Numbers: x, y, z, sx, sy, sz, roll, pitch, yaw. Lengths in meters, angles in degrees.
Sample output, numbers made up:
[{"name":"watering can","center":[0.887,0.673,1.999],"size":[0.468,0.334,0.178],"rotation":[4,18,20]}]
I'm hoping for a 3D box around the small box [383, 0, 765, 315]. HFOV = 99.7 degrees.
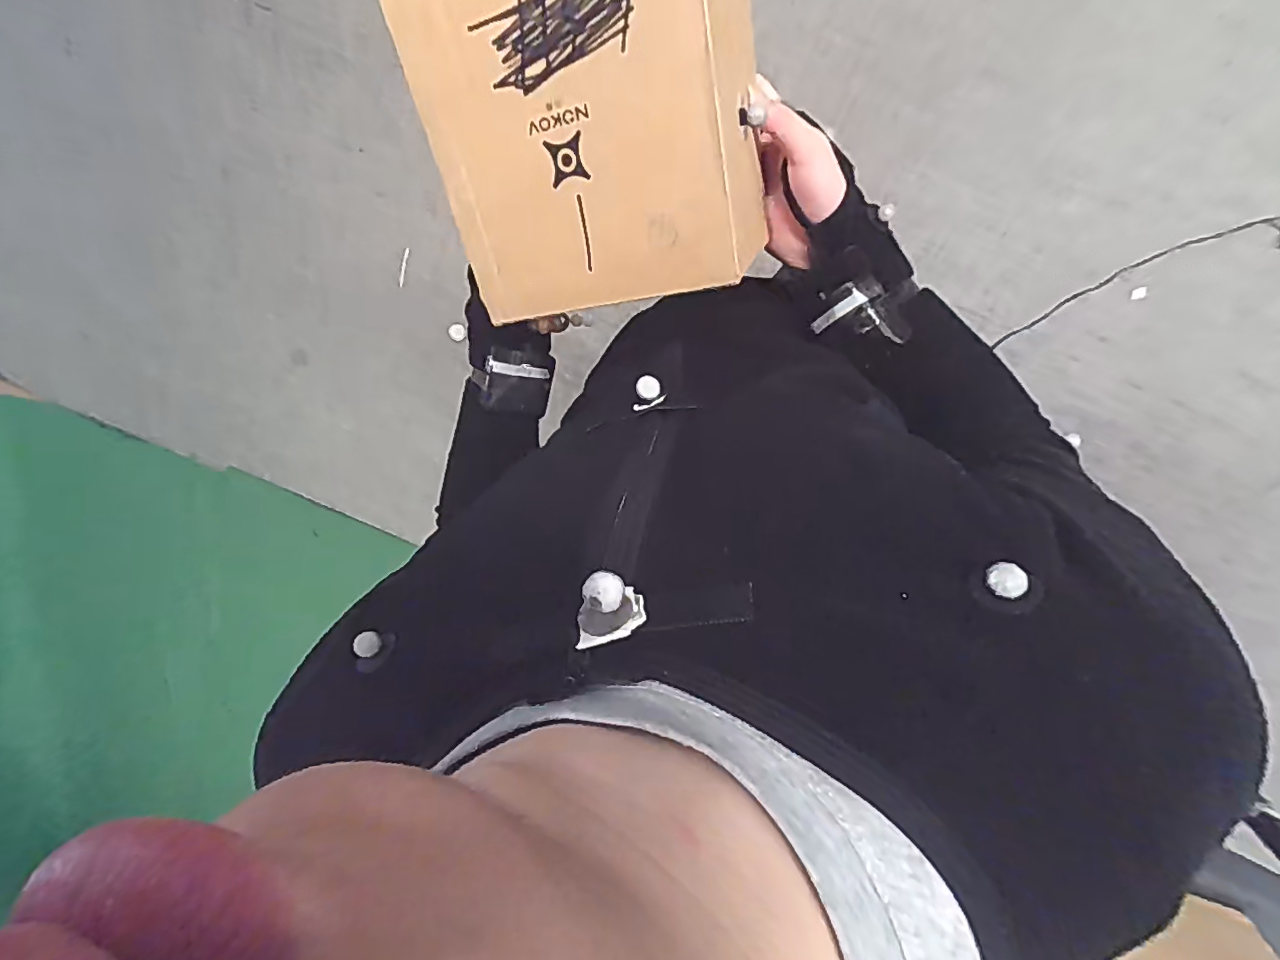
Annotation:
[{"name":"small box","center":[-0.017,-0.223,0.348],"size":[0.168,0.176,0.179],"rotation":[-1,121,22]}]
